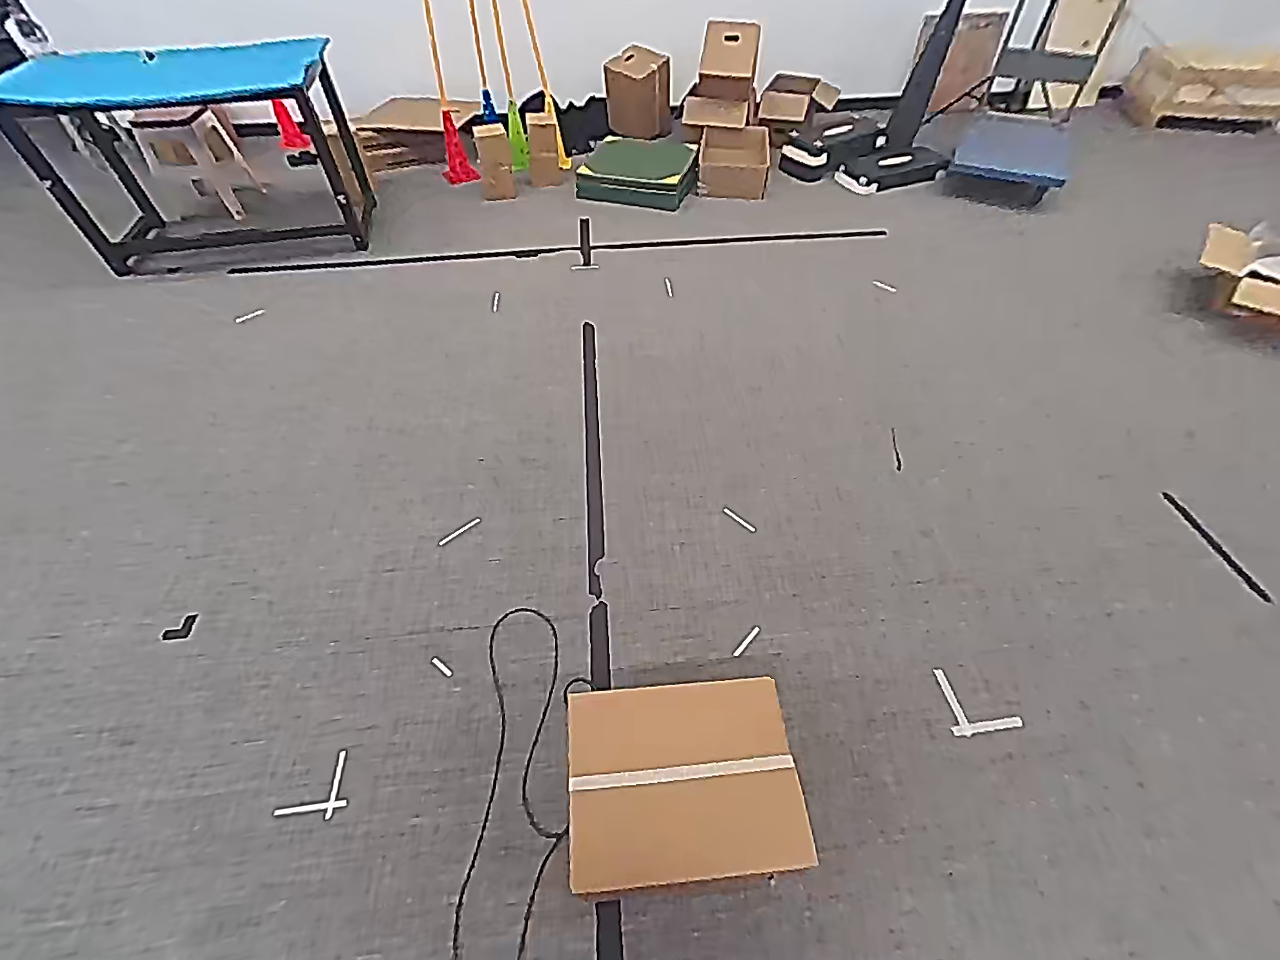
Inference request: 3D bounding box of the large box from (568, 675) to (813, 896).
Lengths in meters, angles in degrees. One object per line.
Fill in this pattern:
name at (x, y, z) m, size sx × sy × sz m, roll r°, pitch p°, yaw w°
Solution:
large box at (0.073, 0.613, 1.080) m, size 0.408 × 0.320 × 0.320 m, roll -4°, pitch 50°, yaw -4°
